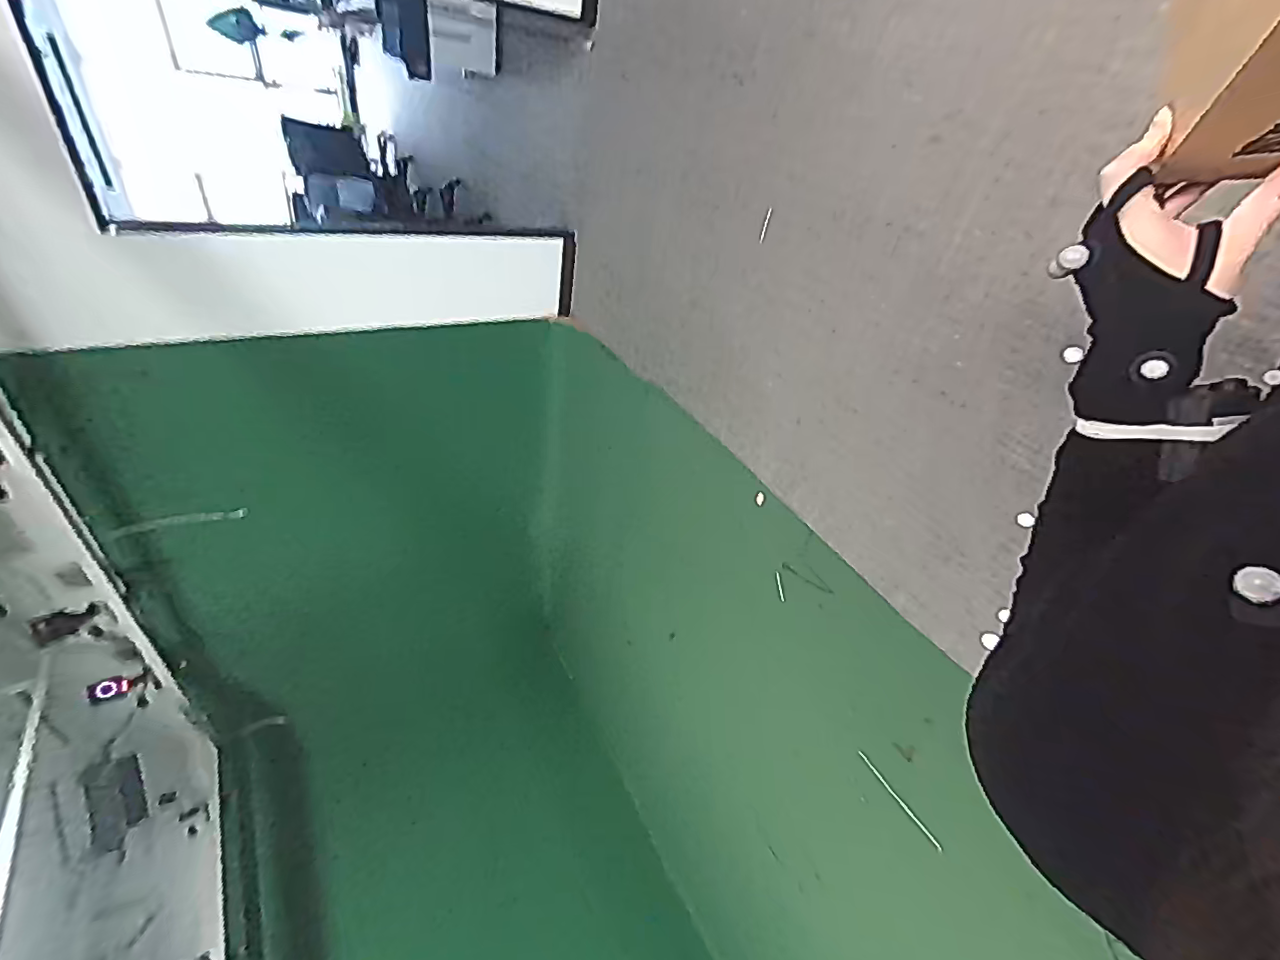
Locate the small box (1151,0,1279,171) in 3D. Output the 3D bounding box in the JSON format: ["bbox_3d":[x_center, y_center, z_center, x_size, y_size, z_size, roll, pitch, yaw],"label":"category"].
[{"bbox_3d":[0.381,-0.271,0.236,0.168,0.179,0.176,11,84,22],"label":"small box"}]
